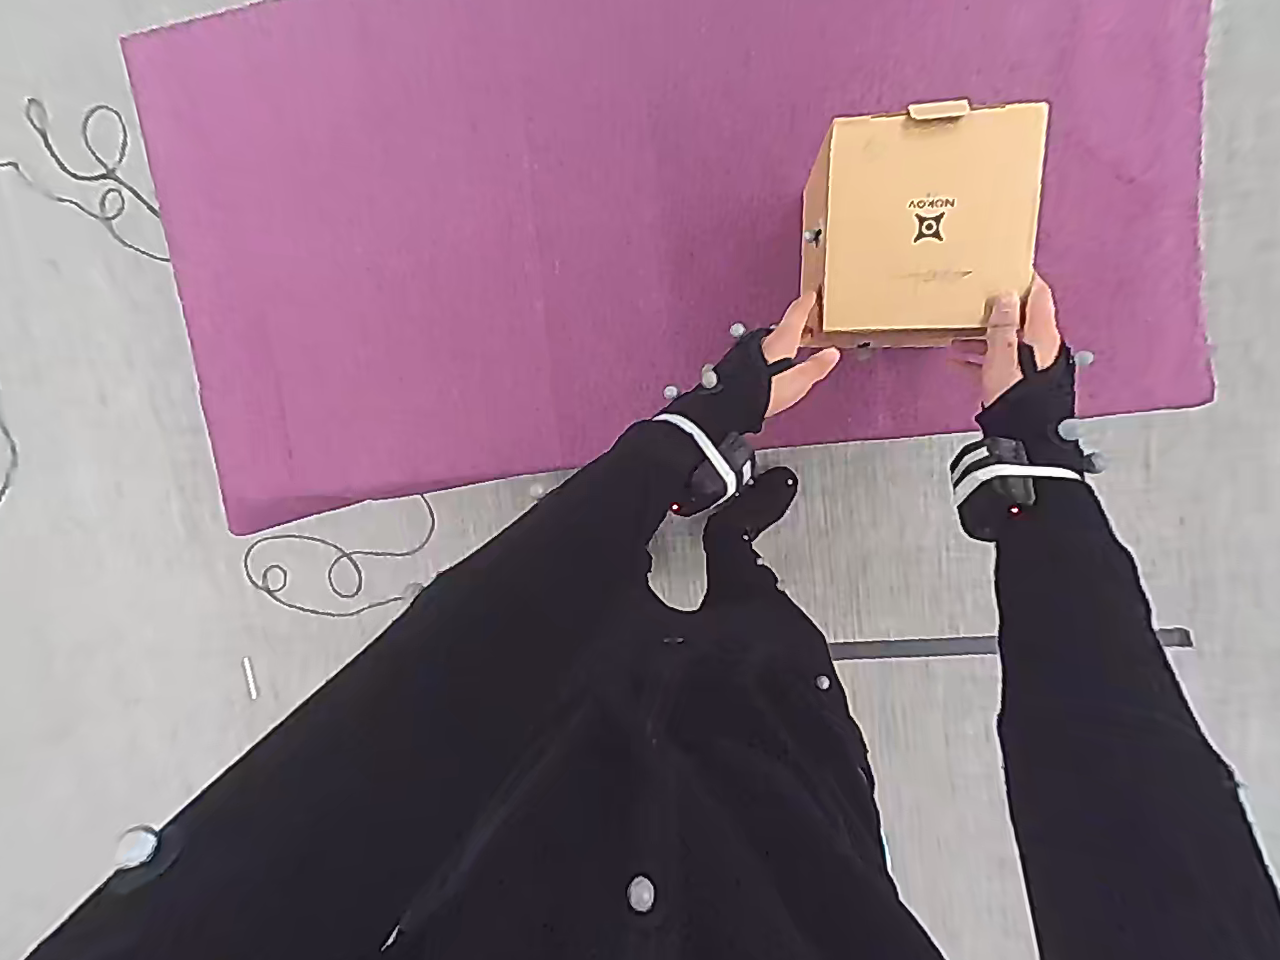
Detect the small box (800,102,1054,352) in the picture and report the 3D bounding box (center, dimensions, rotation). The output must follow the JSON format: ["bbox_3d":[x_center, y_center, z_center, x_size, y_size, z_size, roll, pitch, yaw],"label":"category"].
[{"bbox_3d":[0.252,-0.223,0.521,0.168,0.176,0.179,2,99,9],"label":"small box"}]
